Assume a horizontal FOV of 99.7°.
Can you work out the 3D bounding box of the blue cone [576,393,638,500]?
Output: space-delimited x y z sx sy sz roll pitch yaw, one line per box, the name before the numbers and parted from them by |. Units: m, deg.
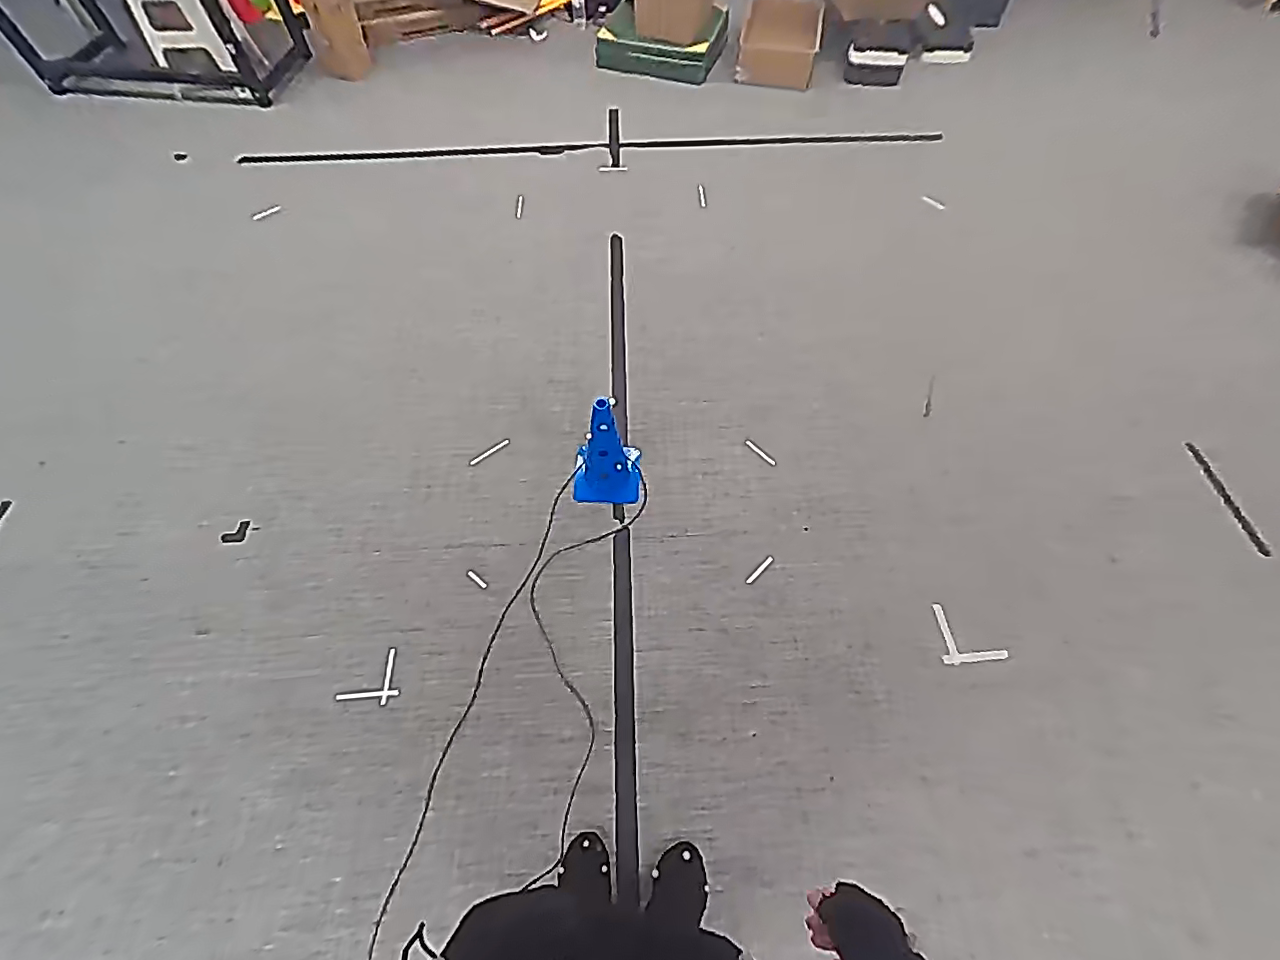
blue cone | -0.102 -0.103 1.509 0.193 0.380 0.192 0 60 1
